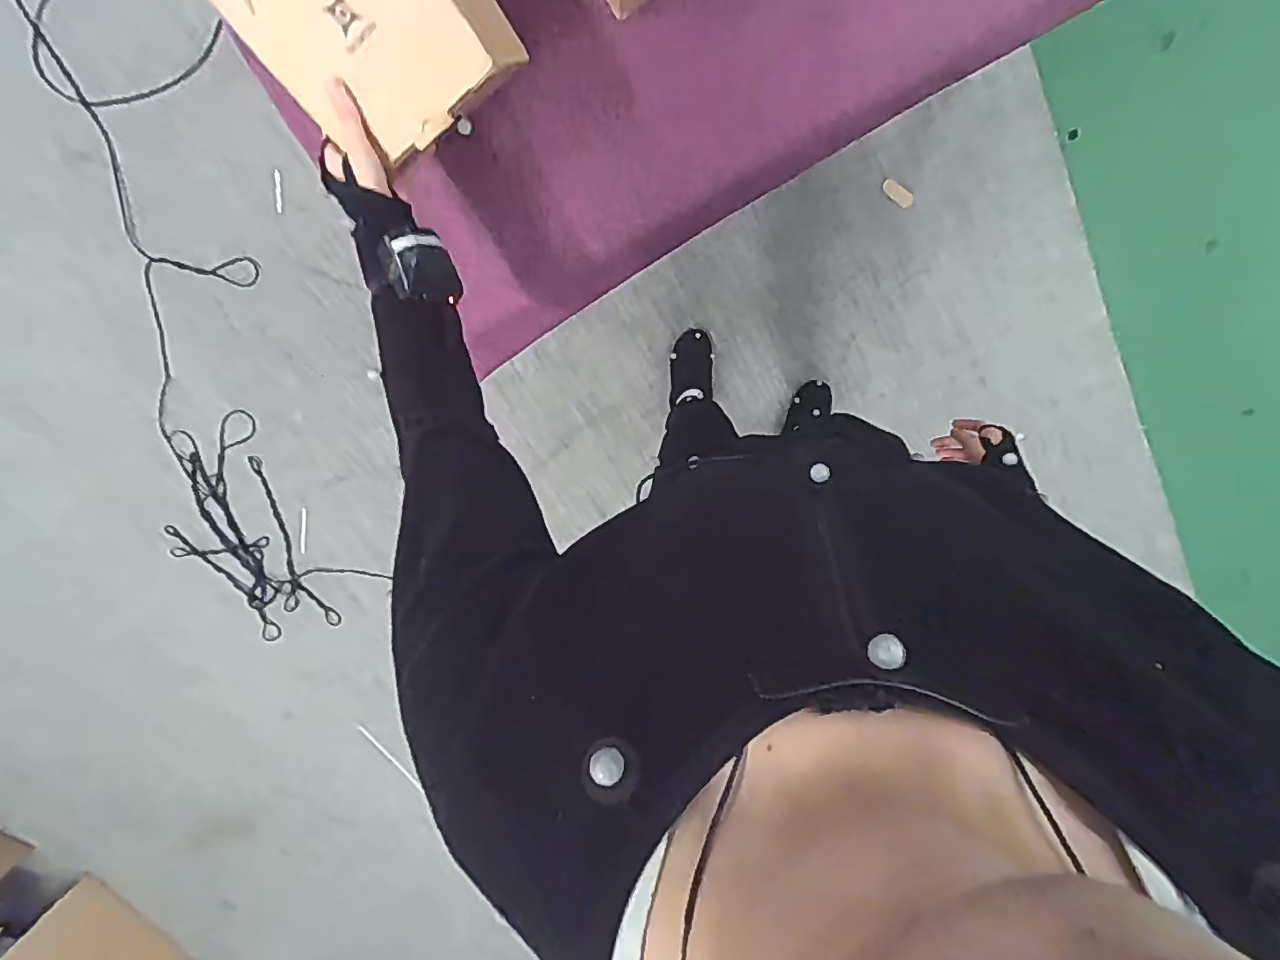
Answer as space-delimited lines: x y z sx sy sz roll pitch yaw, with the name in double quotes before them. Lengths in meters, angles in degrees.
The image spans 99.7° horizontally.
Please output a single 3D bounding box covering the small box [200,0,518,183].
"small box" -0.235 -0.418 0.491 0.168 0.176 0.179 -25 127 23
